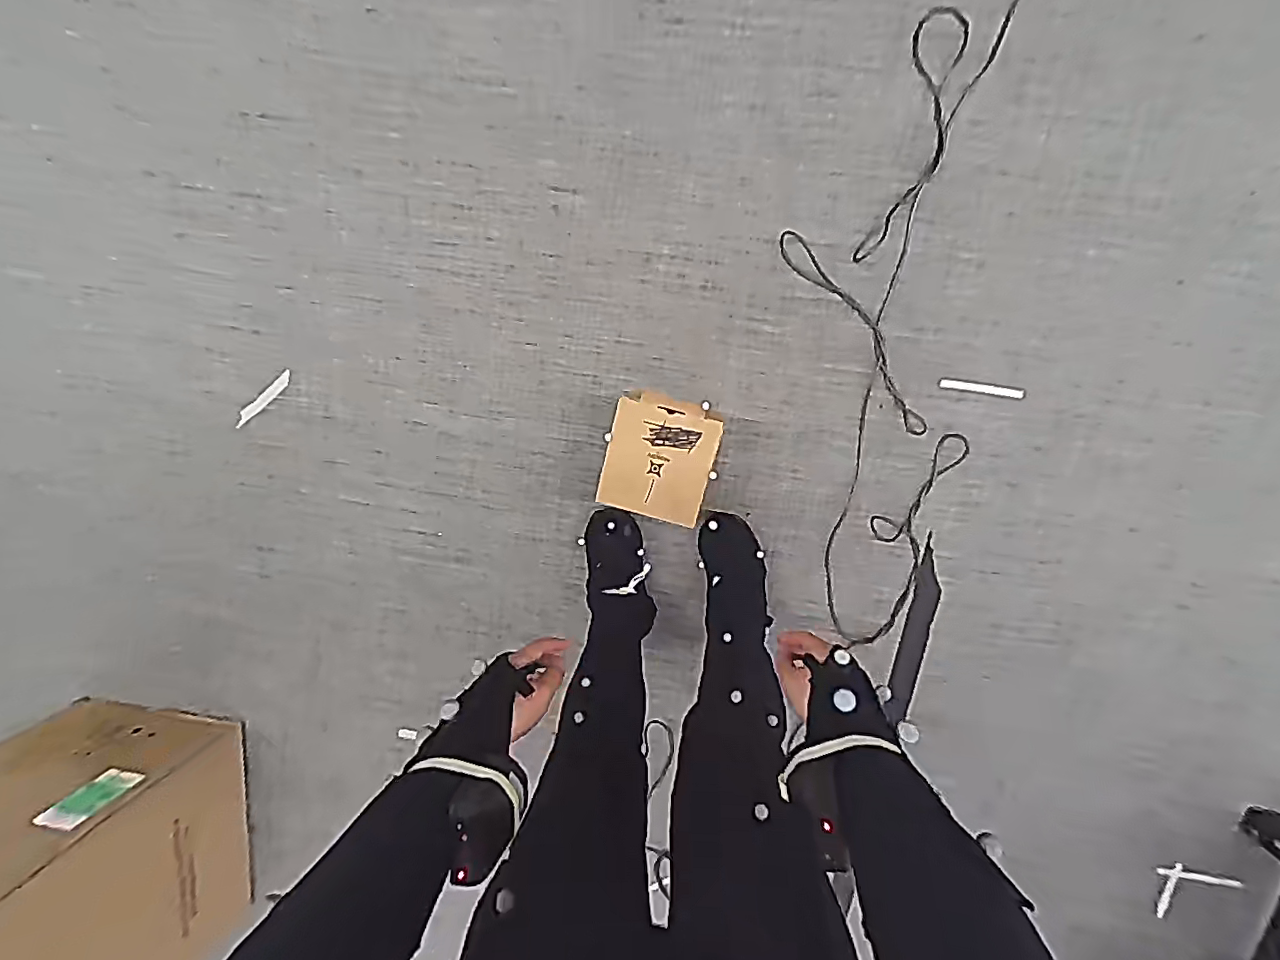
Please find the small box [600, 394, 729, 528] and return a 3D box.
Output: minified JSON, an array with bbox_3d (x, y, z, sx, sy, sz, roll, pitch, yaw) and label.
[{"bbox_3d":[0.043,-0.042,0.913,0.168,0.176,0.179,16,103,3],"label":"small box"}]
